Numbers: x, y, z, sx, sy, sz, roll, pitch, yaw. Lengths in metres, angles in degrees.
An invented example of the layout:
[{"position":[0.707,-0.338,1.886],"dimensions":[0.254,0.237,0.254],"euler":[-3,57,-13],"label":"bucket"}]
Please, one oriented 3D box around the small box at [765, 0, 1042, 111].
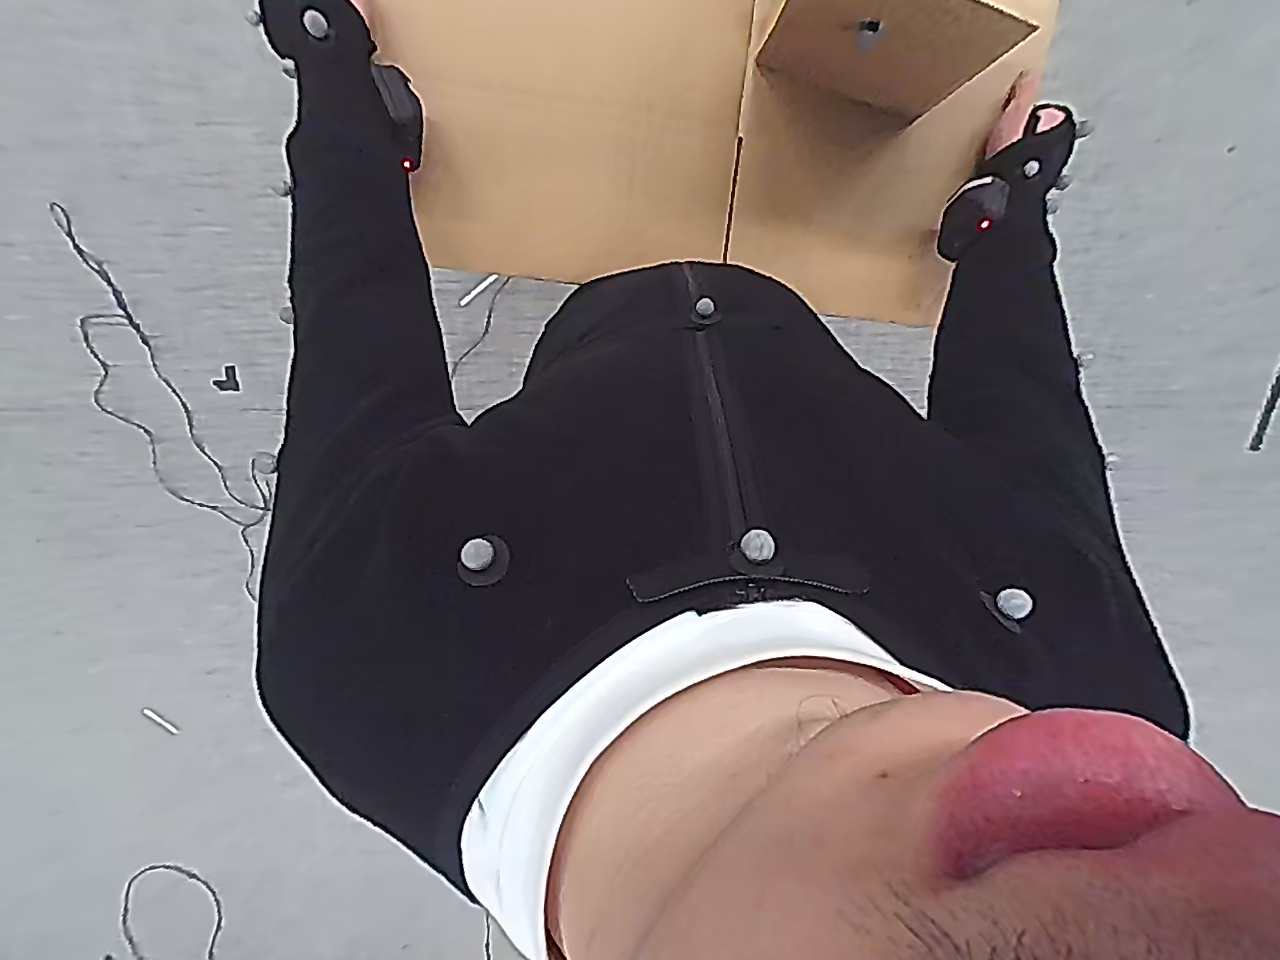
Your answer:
[{"position":[0.223,-0.446,0.447],"dimensions":[0.179,0.176,0.168],"euler":[15,102,-6],"label":"small box"}]
